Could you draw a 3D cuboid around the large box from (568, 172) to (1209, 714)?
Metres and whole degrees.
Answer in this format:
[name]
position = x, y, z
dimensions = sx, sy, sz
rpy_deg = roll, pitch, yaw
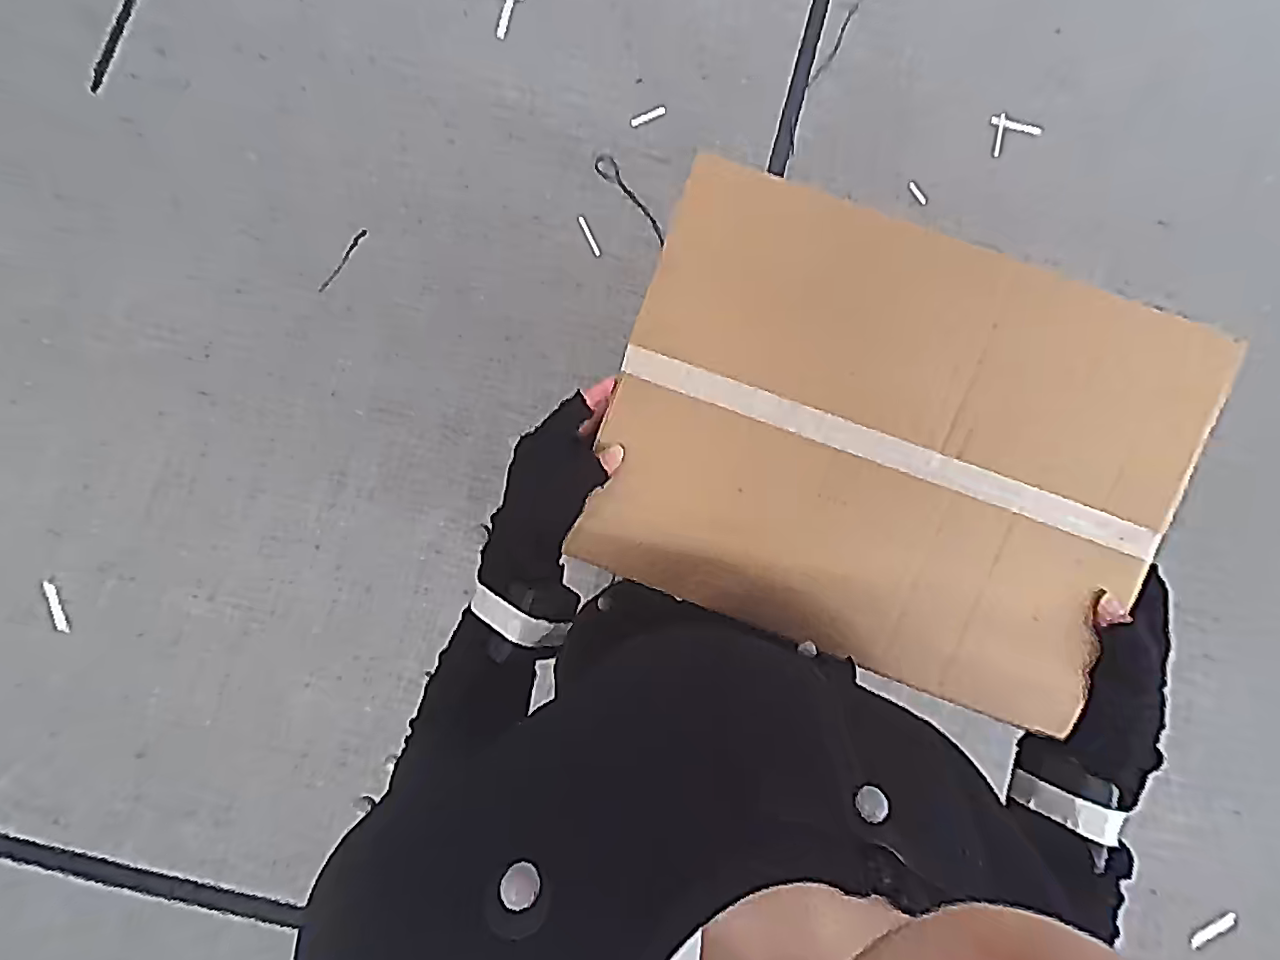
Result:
[large box]
position = 0.184, -0.036, 0.558
dimensions = 0.408, 0.320, 0.320
rpy_deg = 20, 96, 2
